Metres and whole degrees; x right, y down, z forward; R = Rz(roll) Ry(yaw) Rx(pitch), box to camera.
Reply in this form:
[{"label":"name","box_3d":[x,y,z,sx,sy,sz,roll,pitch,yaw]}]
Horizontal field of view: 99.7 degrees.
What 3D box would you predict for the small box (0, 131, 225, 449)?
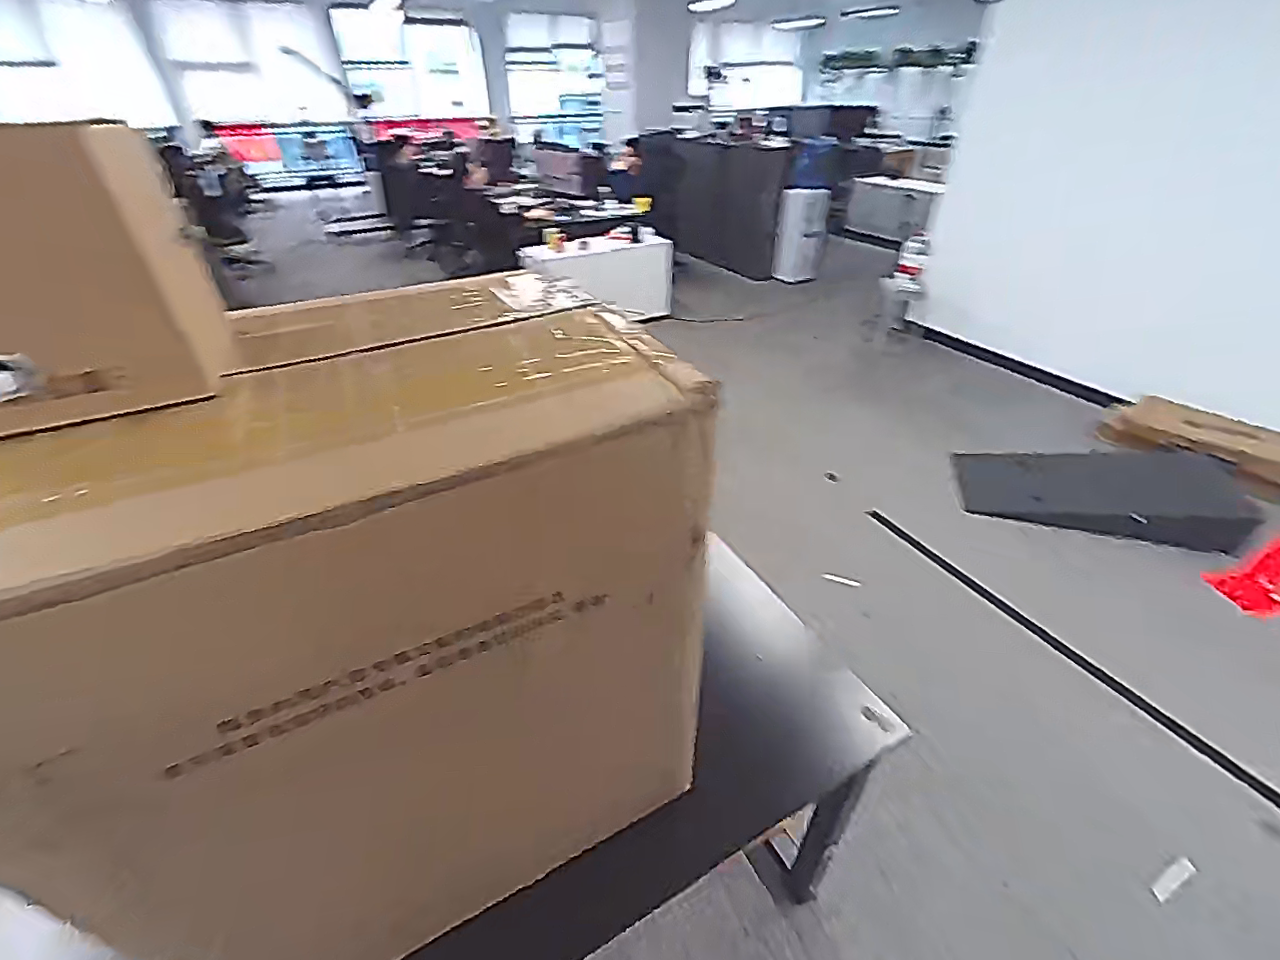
[{"label":"small box","box_3d":[-0.420,-0.136,0.372,0.168,0.176,0.179,-21,39,-24]}]
